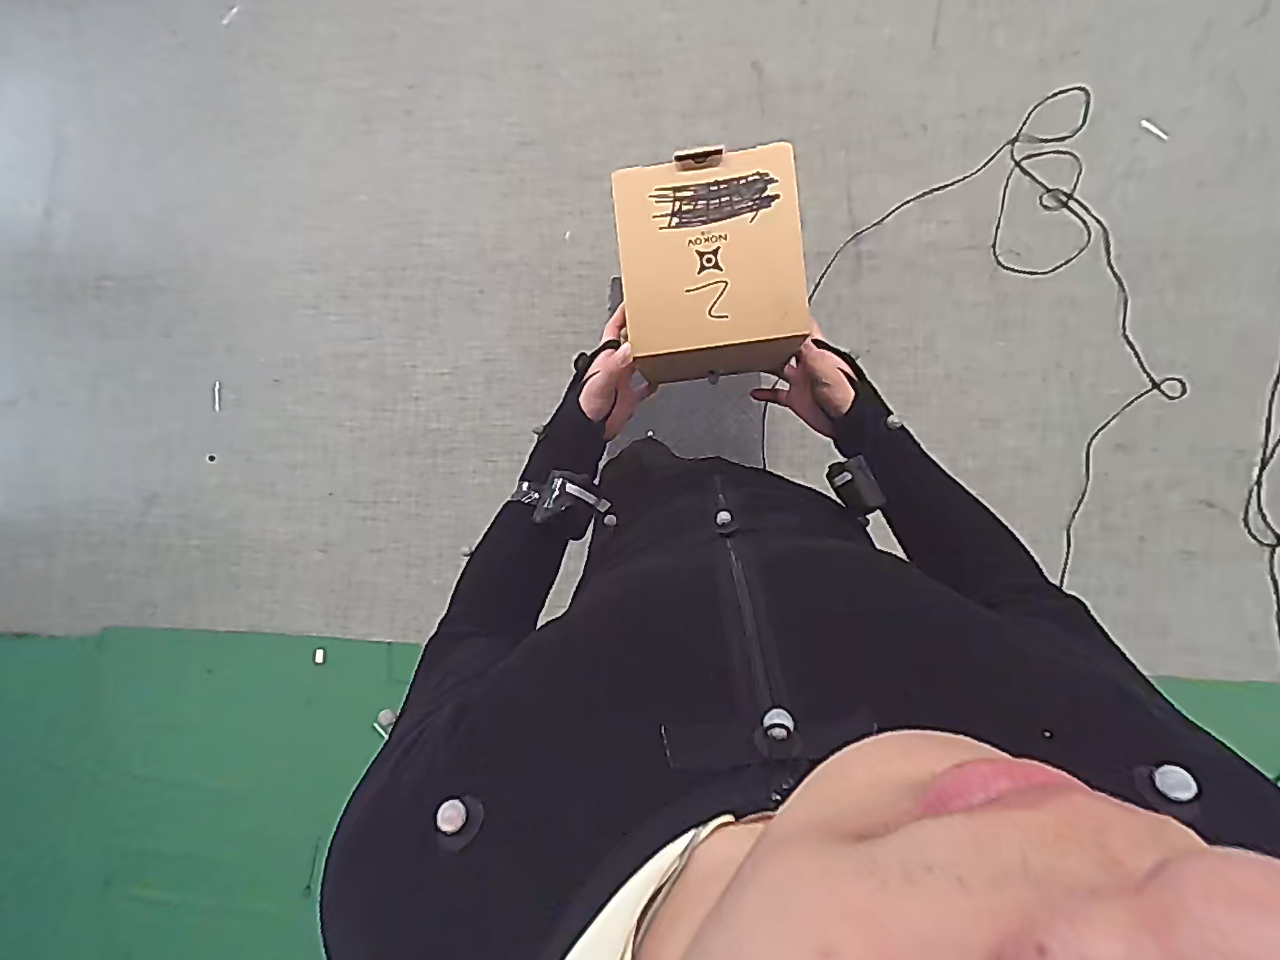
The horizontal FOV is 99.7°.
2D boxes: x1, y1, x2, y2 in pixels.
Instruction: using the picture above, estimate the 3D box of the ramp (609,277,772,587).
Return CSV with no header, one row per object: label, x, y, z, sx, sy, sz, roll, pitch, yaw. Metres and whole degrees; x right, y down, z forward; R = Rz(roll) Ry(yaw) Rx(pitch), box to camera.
ramp,0.151,-0.171,1.705,0.509,0.206,0.991,-2,89,8
